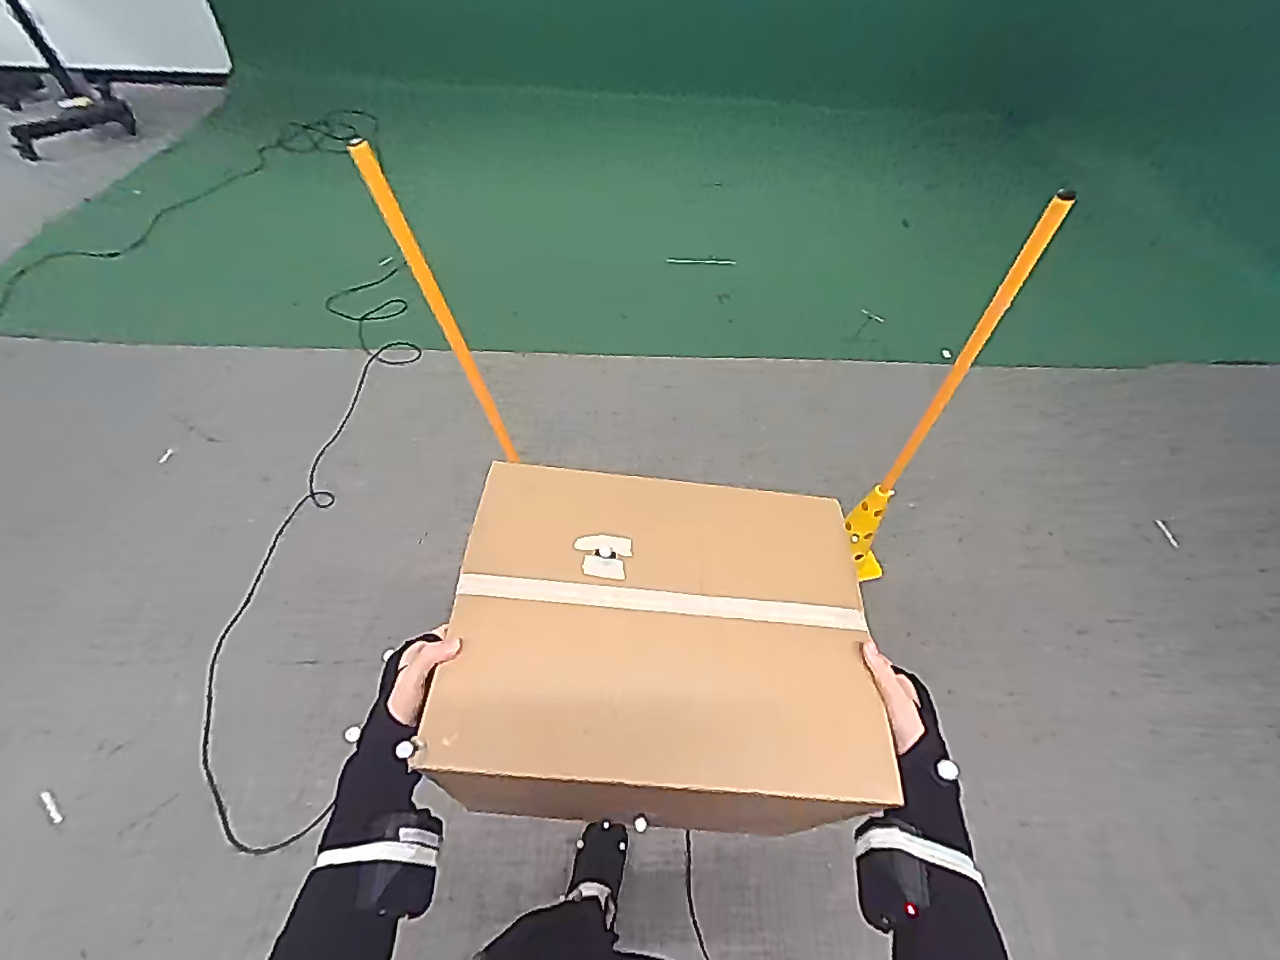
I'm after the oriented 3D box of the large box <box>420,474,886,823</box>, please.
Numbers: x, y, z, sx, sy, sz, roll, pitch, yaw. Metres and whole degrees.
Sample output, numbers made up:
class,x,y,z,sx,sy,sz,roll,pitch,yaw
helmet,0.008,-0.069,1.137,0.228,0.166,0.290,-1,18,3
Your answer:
class,x,y,z,sx,sy,sz,roll,pitch,yaw
large box,0.010,0.220,0.660,0.408,0.320,0.320,6,52,-3
